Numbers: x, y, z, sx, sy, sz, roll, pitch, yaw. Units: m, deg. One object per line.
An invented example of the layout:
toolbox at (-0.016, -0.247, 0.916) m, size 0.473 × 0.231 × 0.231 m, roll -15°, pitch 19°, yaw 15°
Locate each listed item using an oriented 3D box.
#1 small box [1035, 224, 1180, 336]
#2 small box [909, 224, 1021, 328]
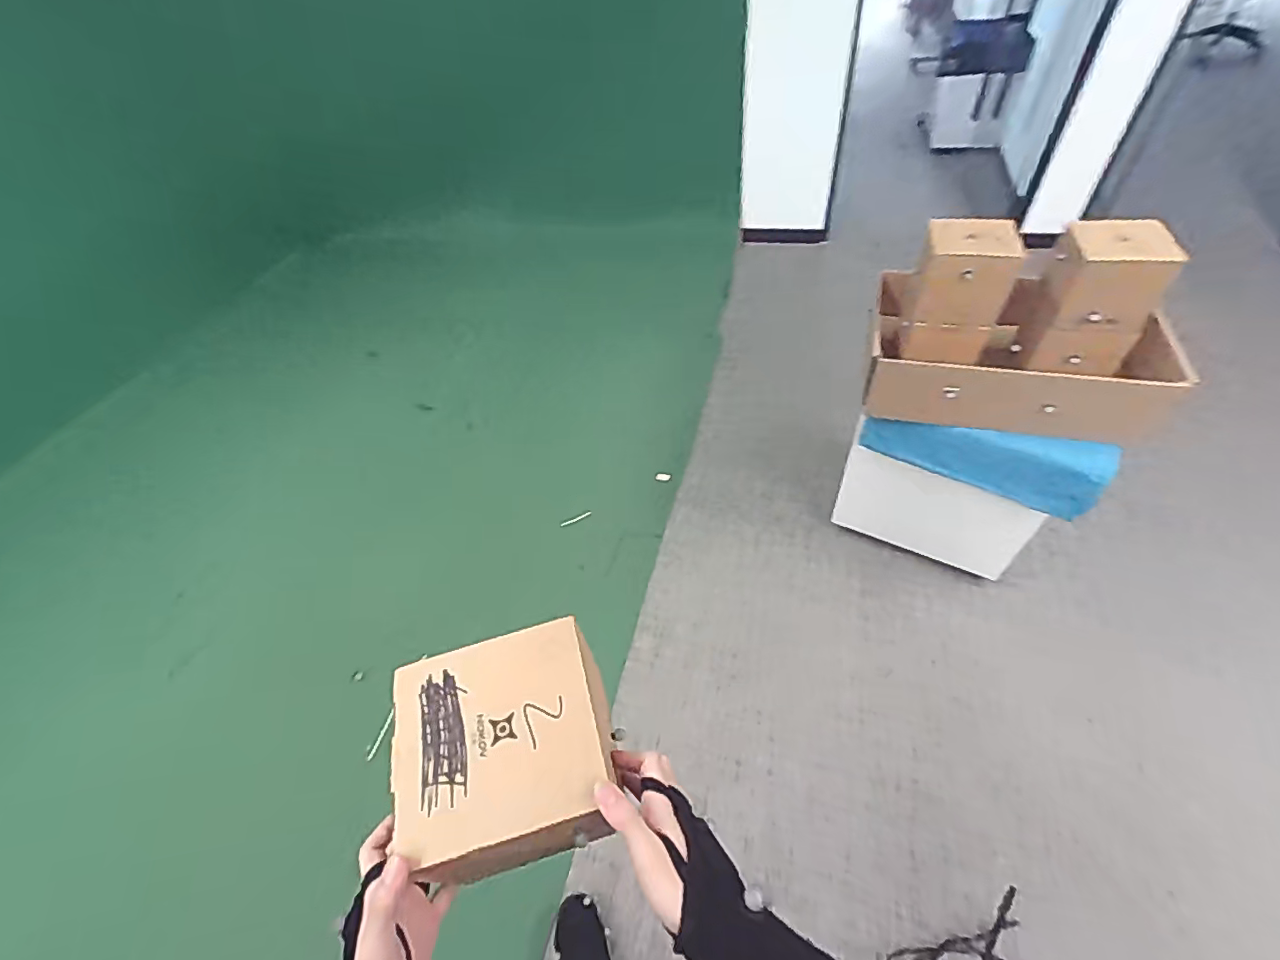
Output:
small box at (0.994, -0.435, 1.171) m, size 0.168 × 0.176 × 0.179 m, roll 6°, pitch 50°, yaw 15°
small box at (0.726, -0.464, 1.235) m, size 0.179 × 0.176 × 0.168 m, roll 8°, pitch 51°, yaw 13°
